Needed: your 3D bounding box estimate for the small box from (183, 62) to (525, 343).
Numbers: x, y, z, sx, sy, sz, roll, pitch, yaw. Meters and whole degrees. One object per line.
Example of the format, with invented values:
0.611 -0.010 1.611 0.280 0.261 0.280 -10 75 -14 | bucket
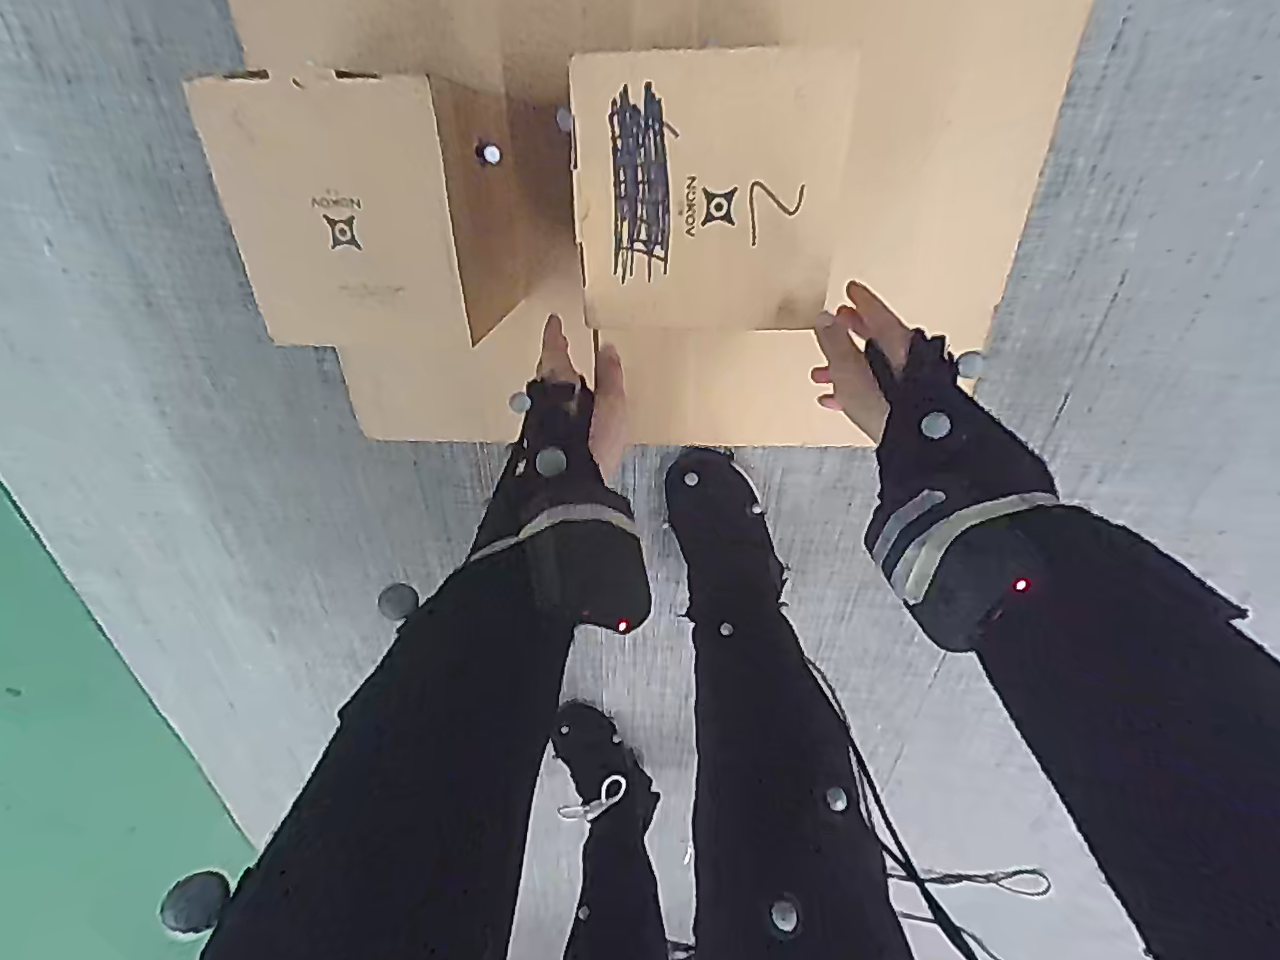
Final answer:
-0.202 -0.224 0.446 0.168 0.176 0.179 2 123 4 | small box
